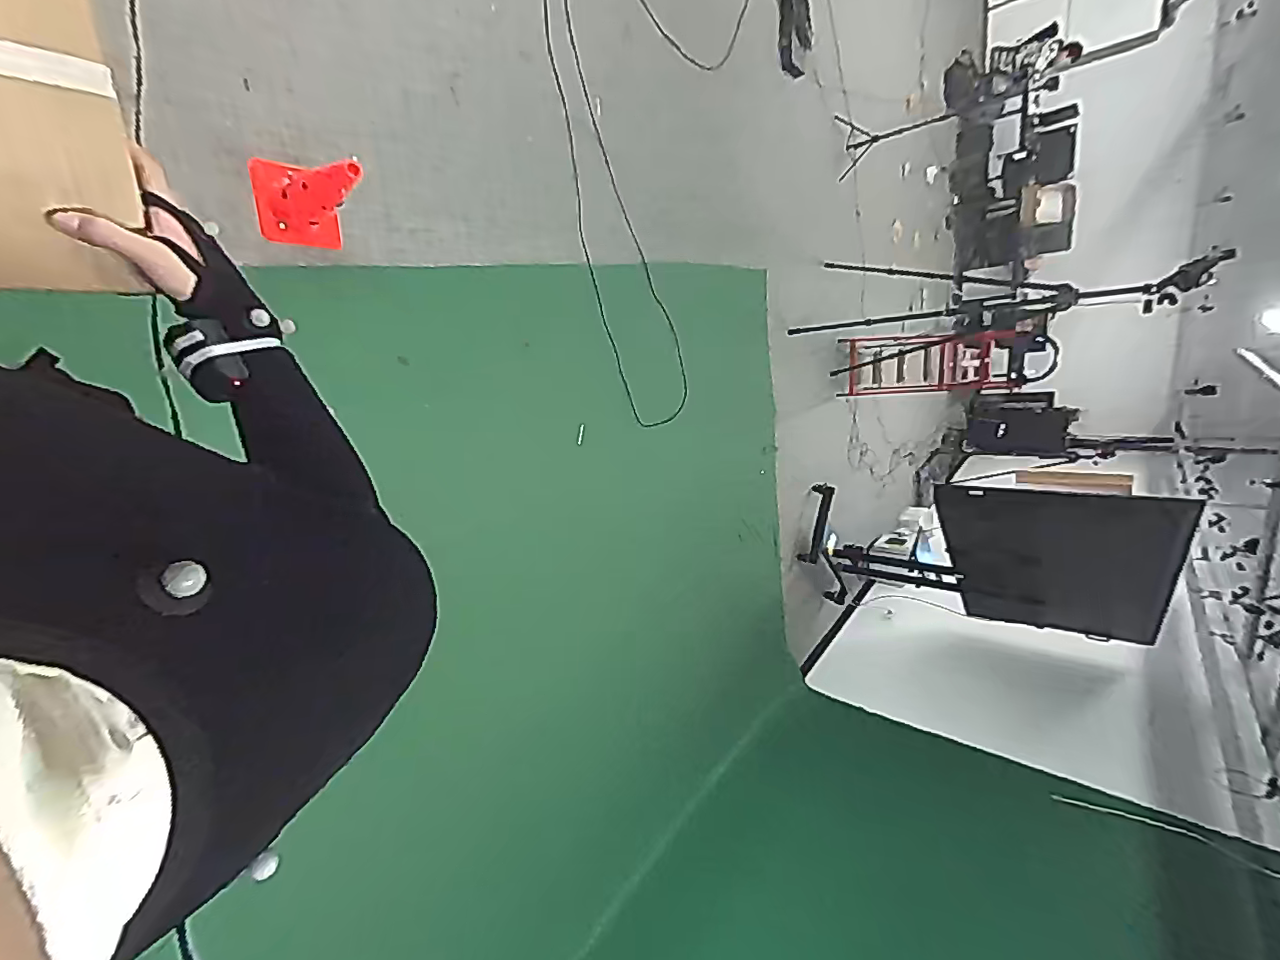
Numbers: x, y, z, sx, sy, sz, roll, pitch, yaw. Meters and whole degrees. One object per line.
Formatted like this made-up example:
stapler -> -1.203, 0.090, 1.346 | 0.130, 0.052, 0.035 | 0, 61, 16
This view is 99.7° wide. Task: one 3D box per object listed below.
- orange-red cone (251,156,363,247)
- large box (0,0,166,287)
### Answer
orange-red cone -> -0.781, -0.722, 1.336 | 0.199, 0.360, 0.198 | -15, 107, -50
large box -> -0.657, -0.320, 0.381 | 0.408, 0.320, 0.320 | -18, 125, -45
